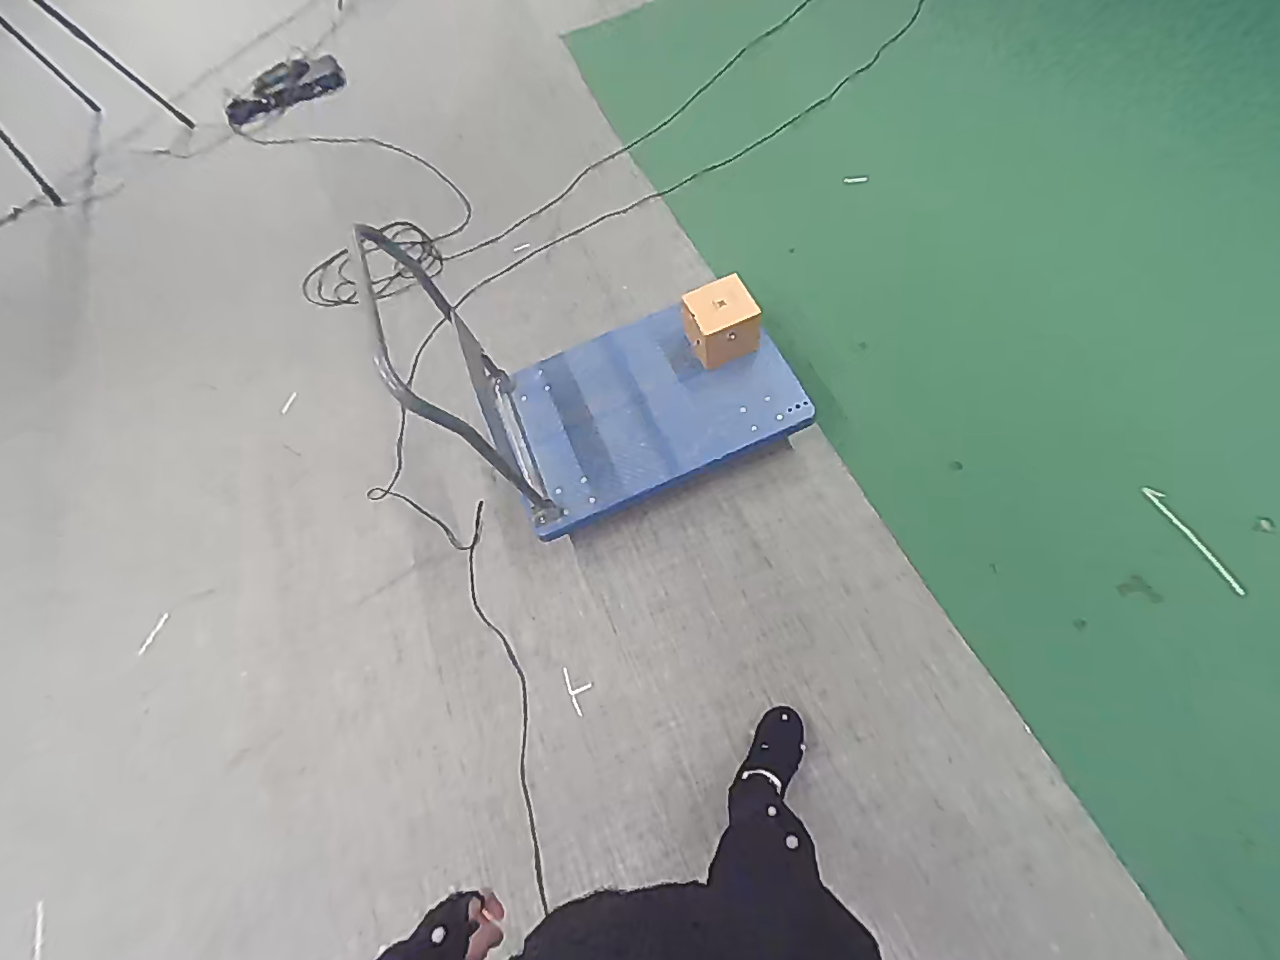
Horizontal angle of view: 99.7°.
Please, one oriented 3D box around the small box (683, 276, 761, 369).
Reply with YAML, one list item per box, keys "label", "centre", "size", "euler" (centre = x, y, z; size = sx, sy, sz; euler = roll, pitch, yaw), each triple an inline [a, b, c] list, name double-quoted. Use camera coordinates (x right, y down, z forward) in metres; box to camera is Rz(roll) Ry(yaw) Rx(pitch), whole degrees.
- label: "small box"
  centre: [0.243, -0.455, 1.591]
  size: [0.179, 0.176, 0.168]
  euler: [-22, 65, -1]
